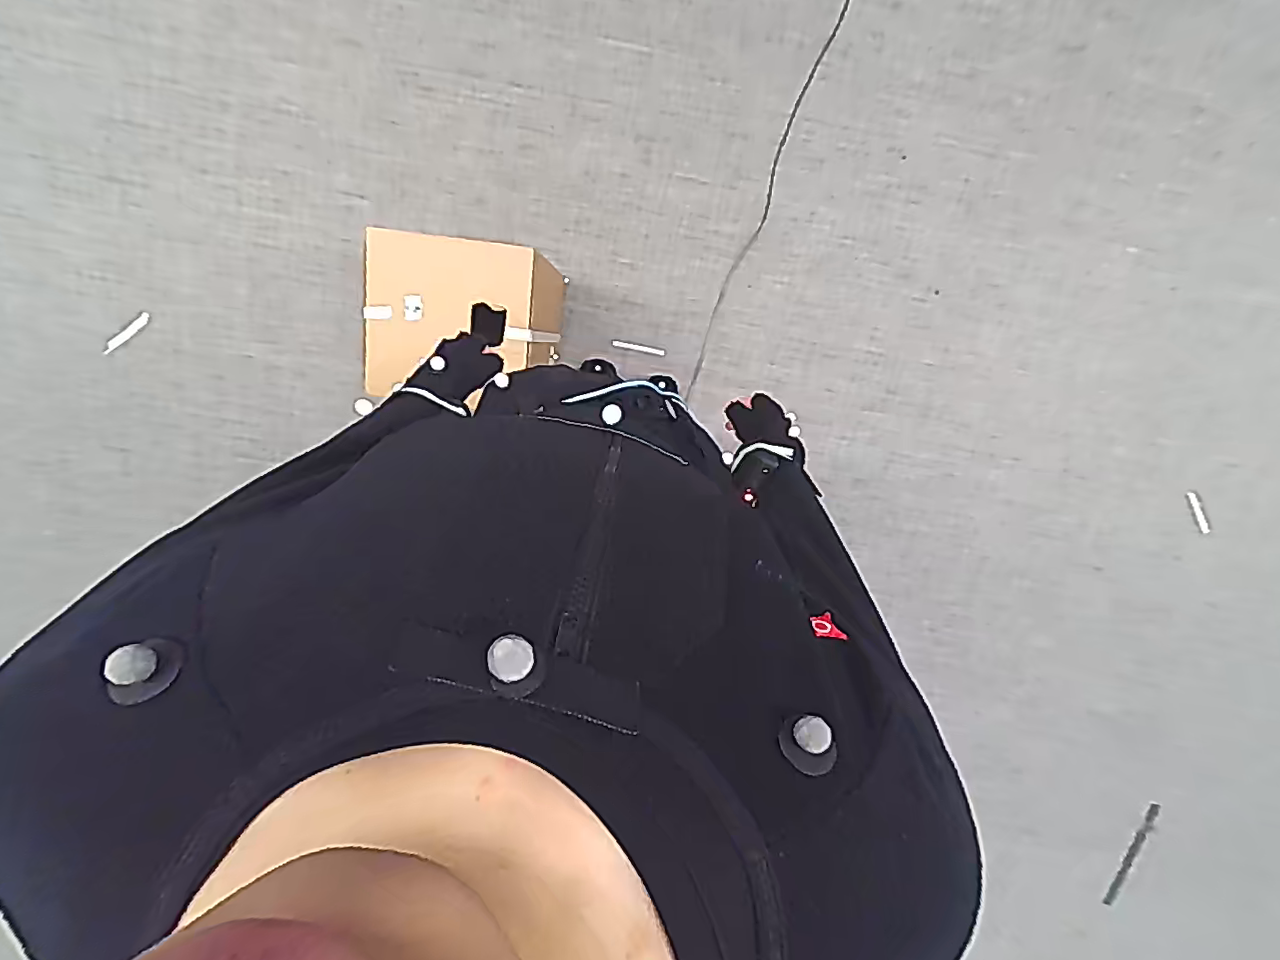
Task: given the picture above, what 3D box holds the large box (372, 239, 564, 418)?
[{"bbox_3d":[-0.362,-0.337,1.224,0.320,0.408,0.320,7,104,-2],"label":"large box"}]
